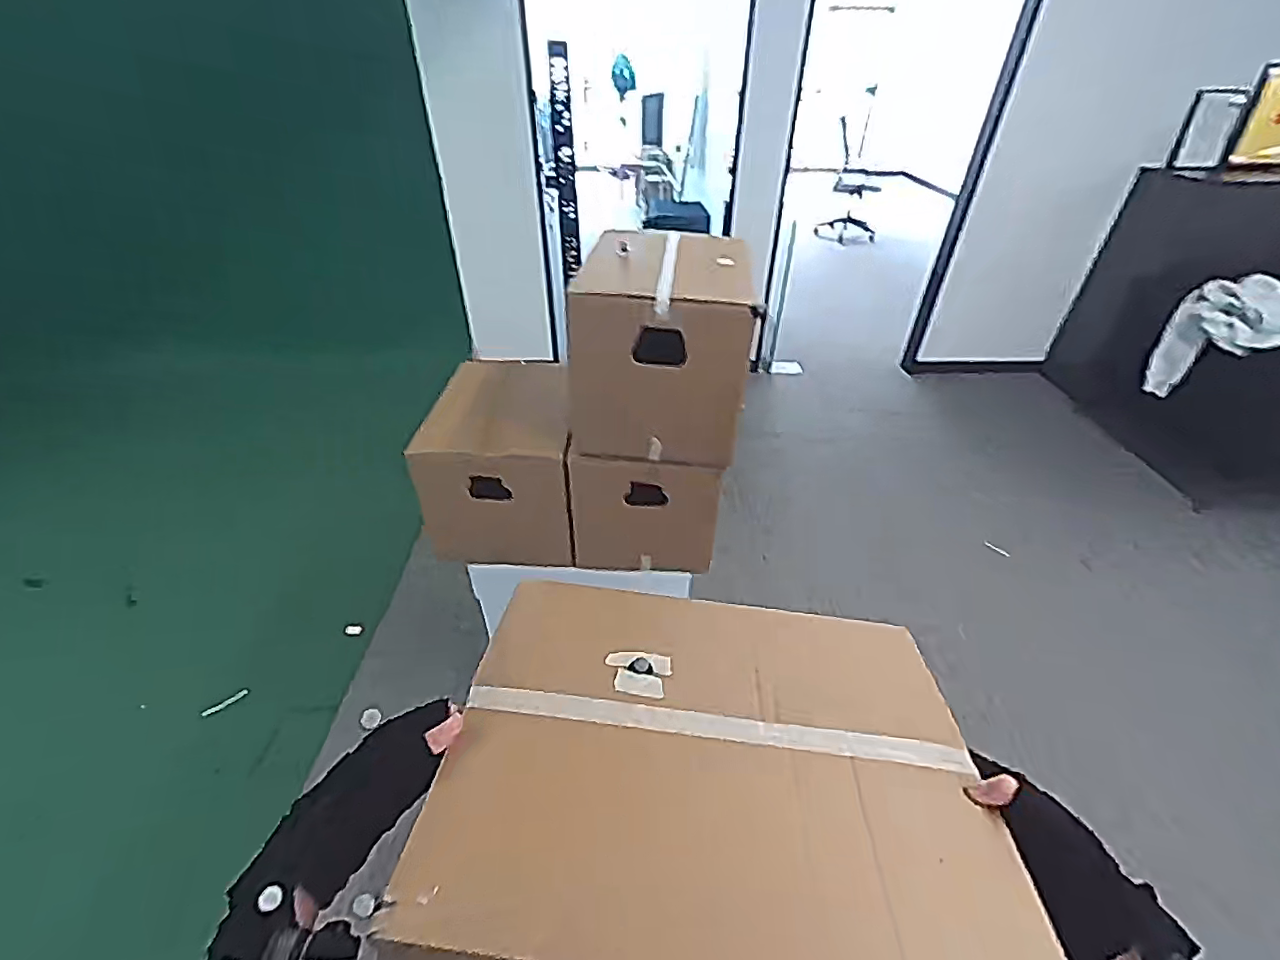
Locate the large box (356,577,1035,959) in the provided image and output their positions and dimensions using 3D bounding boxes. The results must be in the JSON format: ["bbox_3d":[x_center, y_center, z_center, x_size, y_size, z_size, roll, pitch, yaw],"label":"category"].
[{"bbox_3d":[0.038,0.326,0.504,0.408,0.320,0.320,7,30,3],"label":"large box"}]
